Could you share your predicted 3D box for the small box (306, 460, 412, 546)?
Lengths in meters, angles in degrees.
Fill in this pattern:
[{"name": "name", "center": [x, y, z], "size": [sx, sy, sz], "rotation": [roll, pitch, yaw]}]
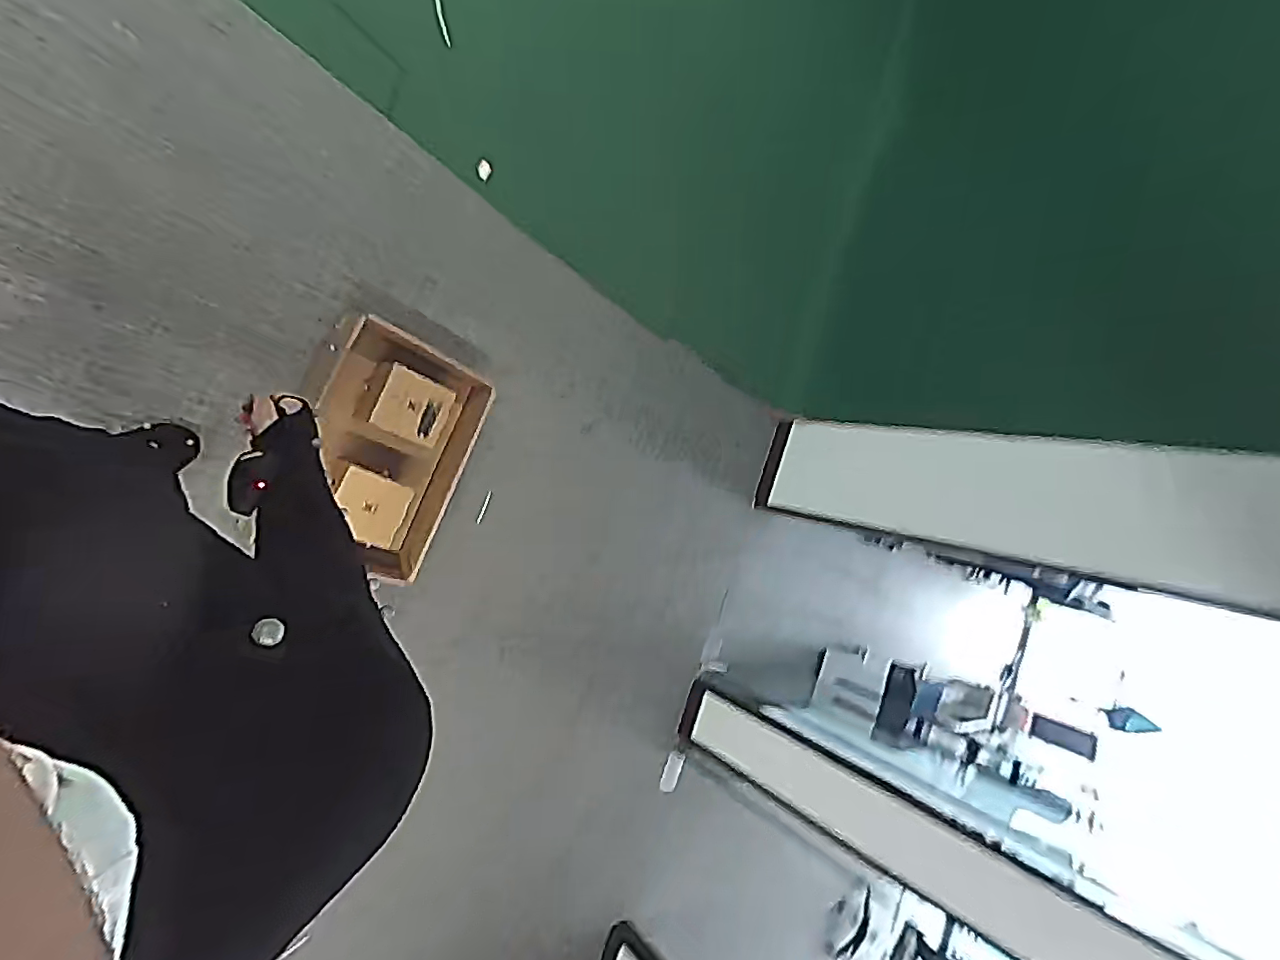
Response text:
[{"name": "small box", "center": [-0.742, 0.056, 1.419], "size": [0.179, 0.176, 0.168], "rotation": [31, 77, -42]}]
